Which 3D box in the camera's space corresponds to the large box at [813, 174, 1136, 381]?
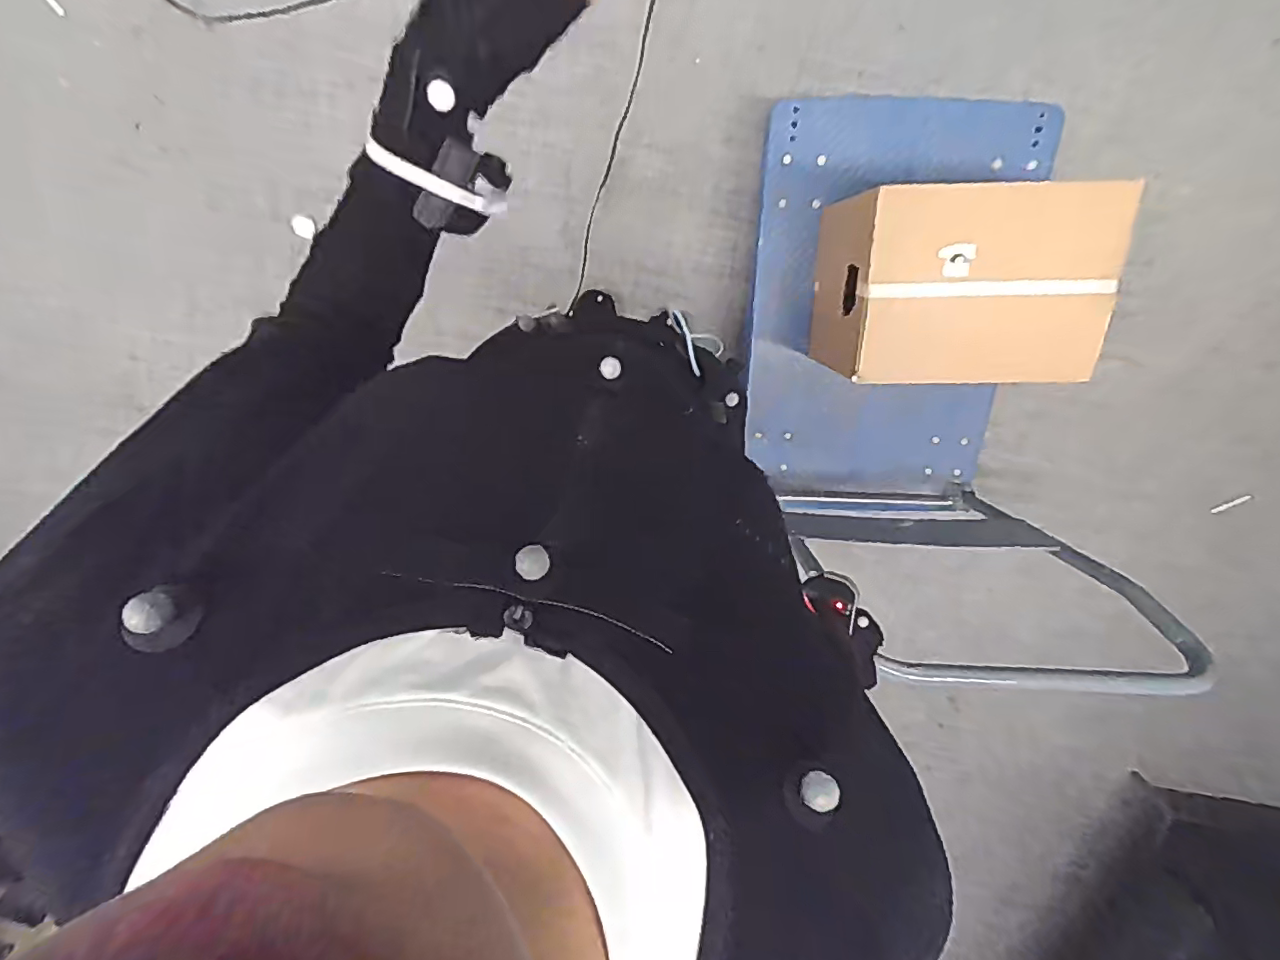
[{"bbox_3d":[0.581,-0.376,1.034,0.408,0.320,0.320,-1,110,3],"label":"large box"}]
